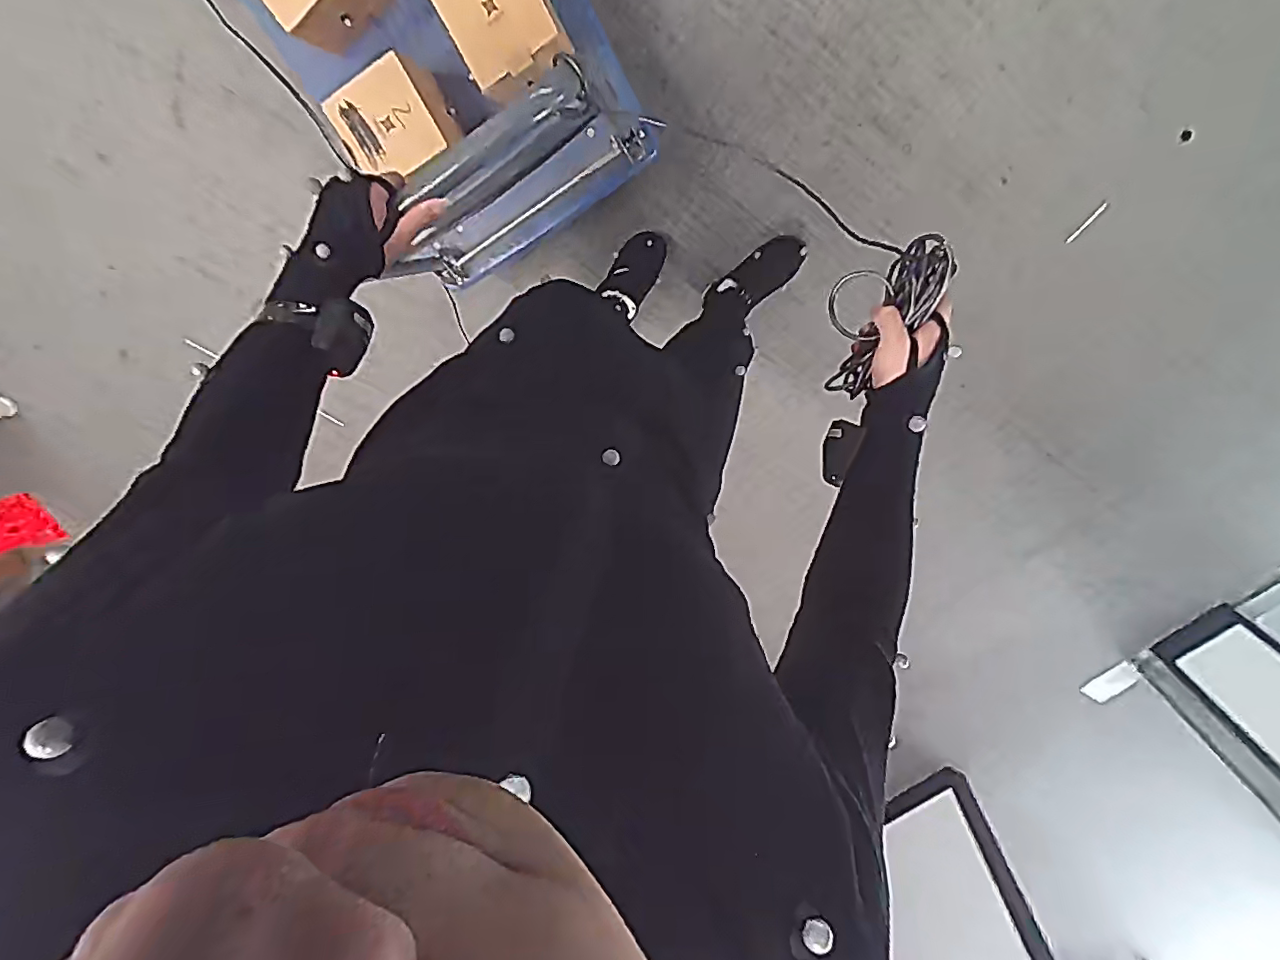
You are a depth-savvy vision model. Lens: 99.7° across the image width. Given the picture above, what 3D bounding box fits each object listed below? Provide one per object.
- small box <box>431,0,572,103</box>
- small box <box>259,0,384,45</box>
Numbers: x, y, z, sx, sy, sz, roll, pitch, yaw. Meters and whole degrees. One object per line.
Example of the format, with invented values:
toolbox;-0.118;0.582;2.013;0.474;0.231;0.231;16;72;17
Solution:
small box;-0.243;-0.816;0.962;0.168;0.176;0.179;-25;113;16
small box;-0.585;-0.904;0.940;0.168;0.176;0.179;-30;111;17
